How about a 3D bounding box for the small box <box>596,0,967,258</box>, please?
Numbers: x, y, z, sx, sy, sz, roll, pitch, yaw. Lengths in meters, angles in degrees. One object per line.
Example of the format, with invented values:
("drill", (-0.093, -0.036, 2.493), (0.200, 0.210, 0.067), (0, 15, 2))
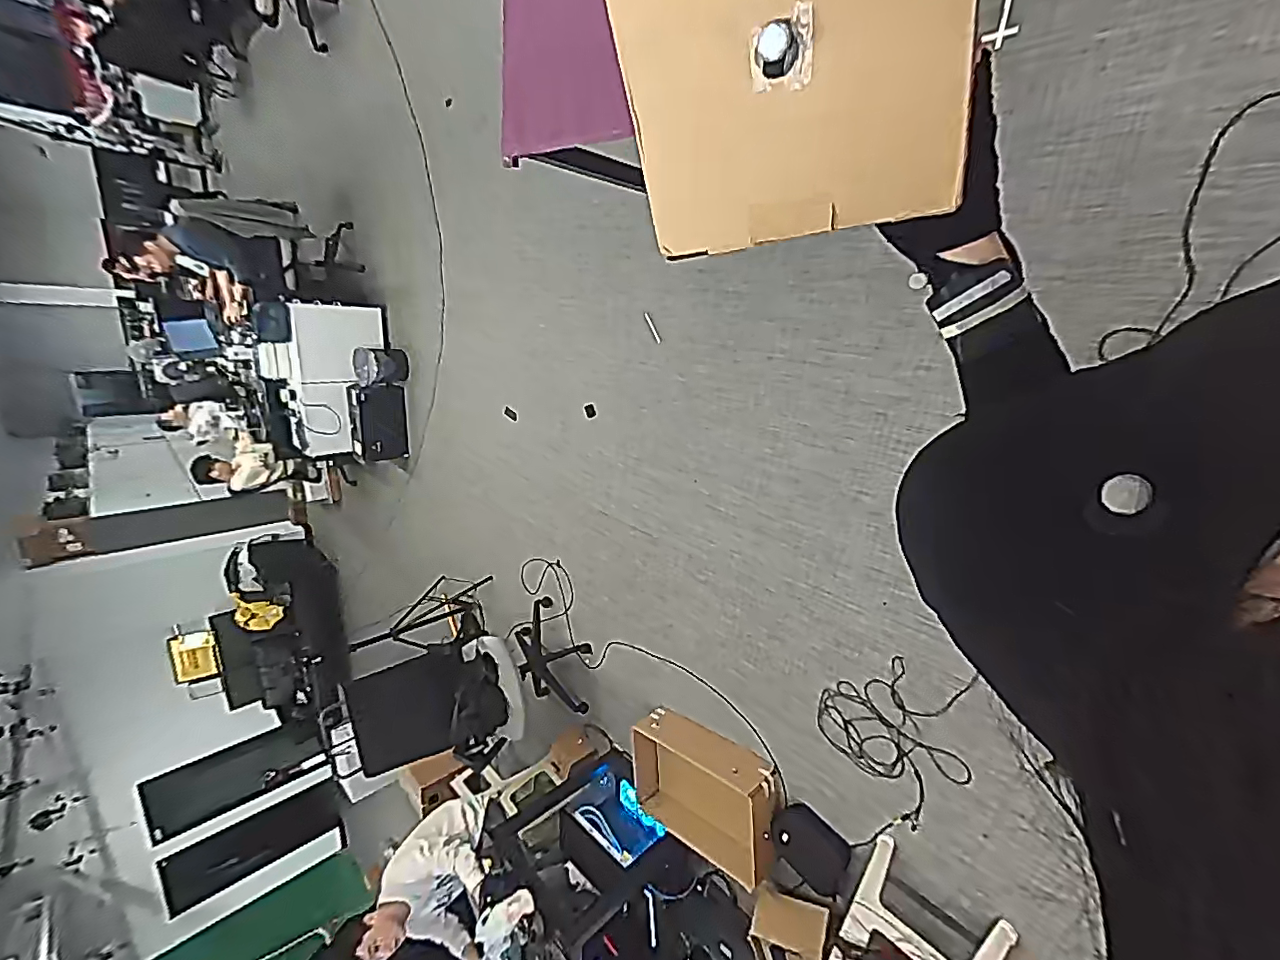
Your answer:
("small box", (0.087, -0.251, 0.309), (0.168, 0.179, 0.176), (2, 129, 26))
